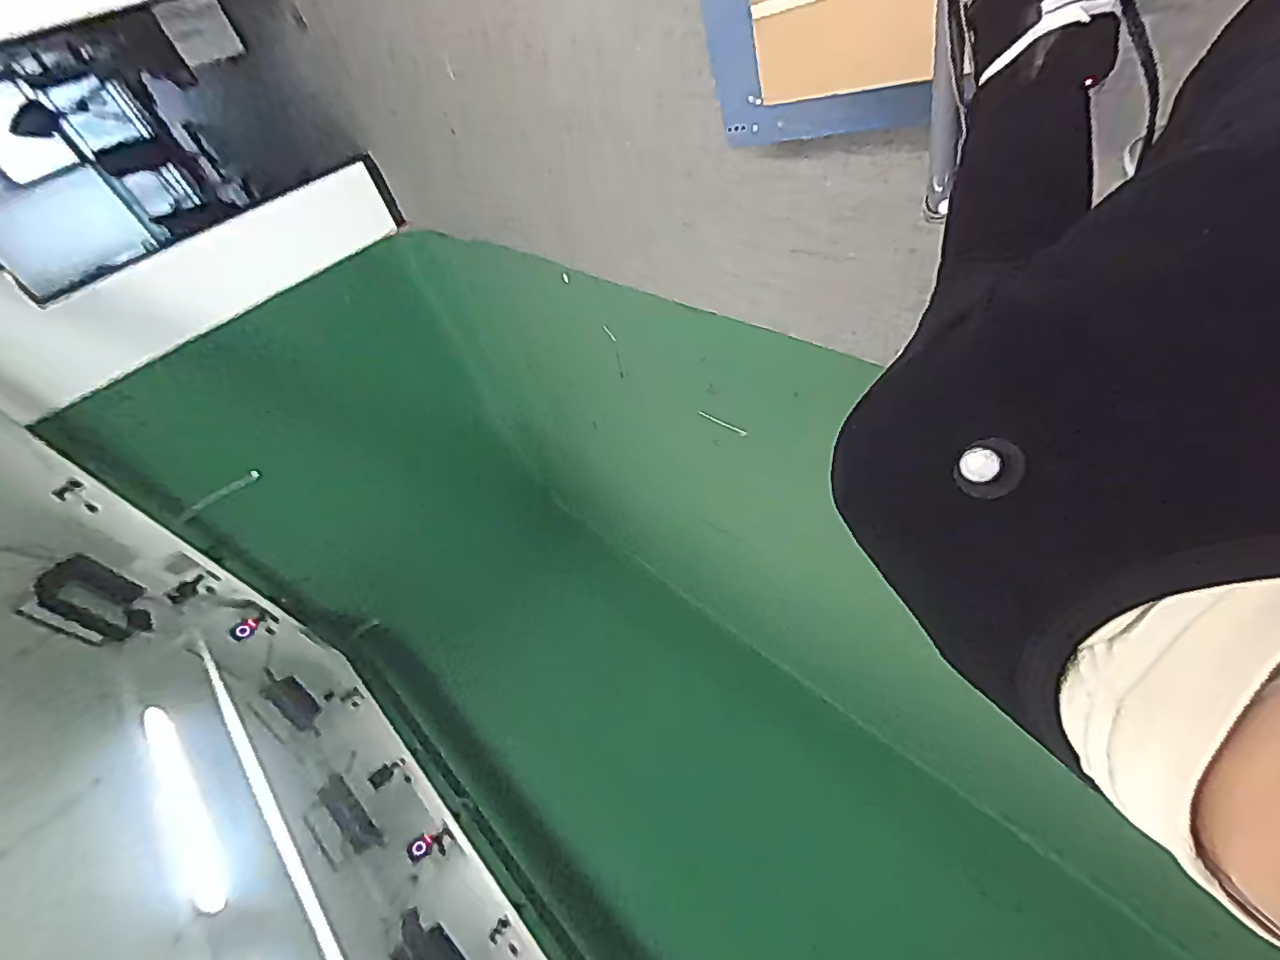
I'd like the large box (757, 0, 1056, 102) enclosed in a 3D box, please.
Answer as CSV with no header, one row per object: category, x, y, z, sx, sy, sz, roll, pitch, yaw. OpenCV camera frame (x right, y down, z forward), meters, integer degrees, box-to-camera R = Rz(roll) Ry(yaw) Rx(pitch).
large box,0.456,-0.912,0.933,0.408,0.320,0.320,26,148,41
